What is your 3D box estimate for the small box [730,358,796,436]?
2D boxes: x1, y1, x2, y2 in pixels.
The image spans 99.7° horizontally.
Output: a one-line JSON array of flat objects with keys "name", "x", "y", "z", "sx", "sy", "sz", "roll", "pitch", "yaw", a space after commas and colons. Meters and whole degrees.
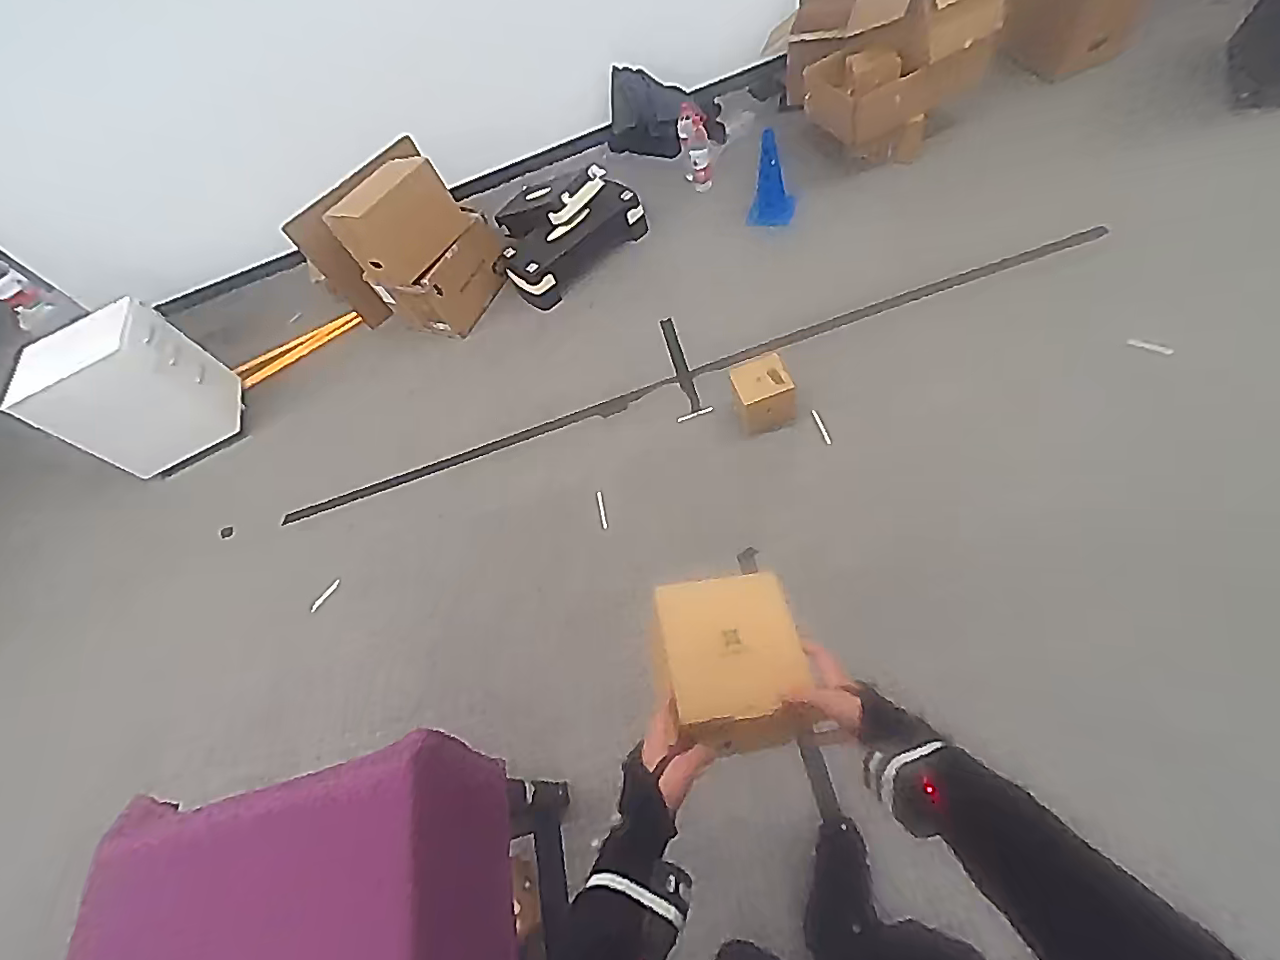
[{"name": "small box", "x": 0.422, "y": -0.280, "z": 1.856, "sx": 0.179, "sy": 0.176, "sz": 0.168, "roll": -20, "pitch": 56, "yaw": 5}]

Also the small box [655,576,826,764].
[{"name": "small box", "x": 0.115, "y": 0.251, "z": 0.712, "sx": 0.168, "sy": 0.176, "sz": 0.179, "roll": -6, "pitch": 51, "yaw": -7}]

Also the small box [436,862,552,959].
[{"name": "small box", "x": -0.342, "y": 1.057, "z": 1.290, "sx": 0.179, "sy": 0.176, "sz": 0.168, "roll": -43, "pitch": 58, "yaw": -10}]
